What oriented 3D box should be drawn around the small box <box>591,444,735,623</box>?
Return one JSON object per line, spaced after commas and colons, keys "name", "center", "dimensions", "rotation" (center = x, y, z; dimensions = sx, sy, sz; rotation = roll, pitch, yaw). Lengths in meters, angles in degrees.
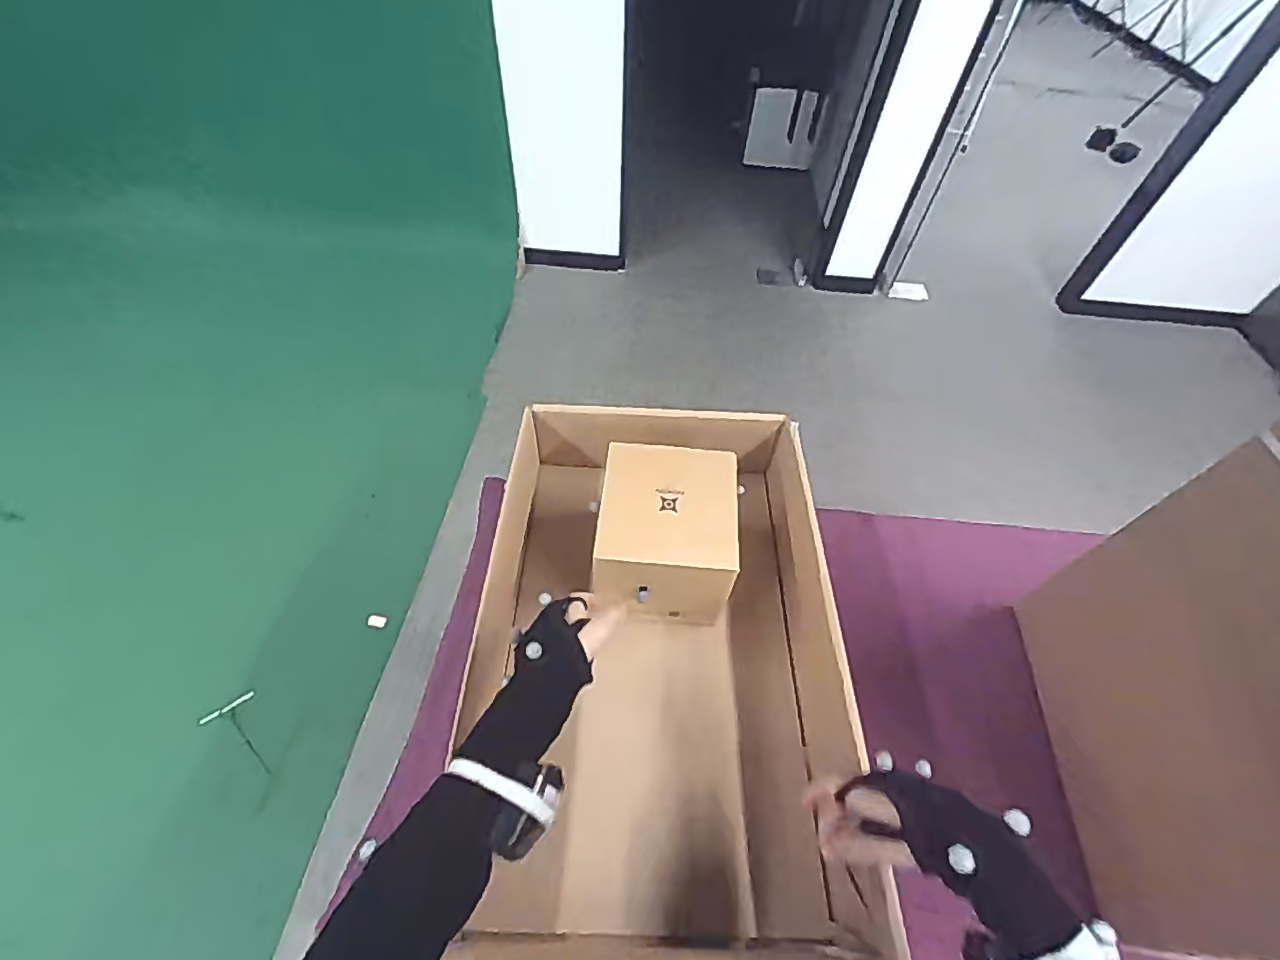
{"name": "small box", "center": [0.031, 0.075, 0.717], "dimensions": [0.168, 0.176, 0.179], "rotation": [4, 53, 1]}
